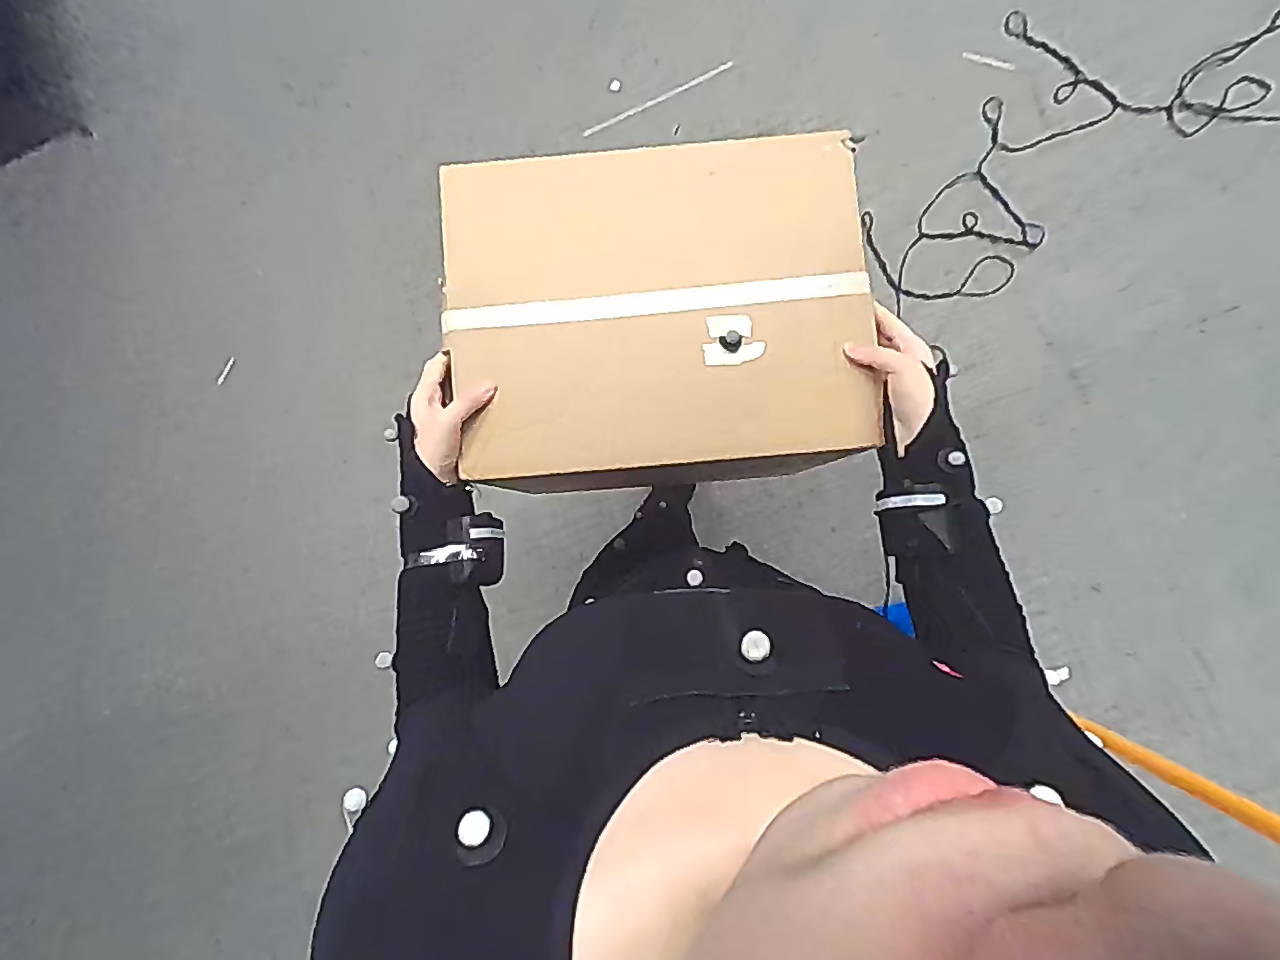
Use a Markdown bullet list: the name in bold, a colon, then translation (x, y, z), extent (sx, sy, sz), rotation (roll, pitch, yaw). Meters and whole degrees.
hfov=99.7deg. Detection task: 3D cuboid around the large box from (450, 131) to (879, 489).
- **large box**: translation (0.019, -0.169, 0.676), extent (0.408, 0.320, 0.320), rotation (-5, 86, 0)
